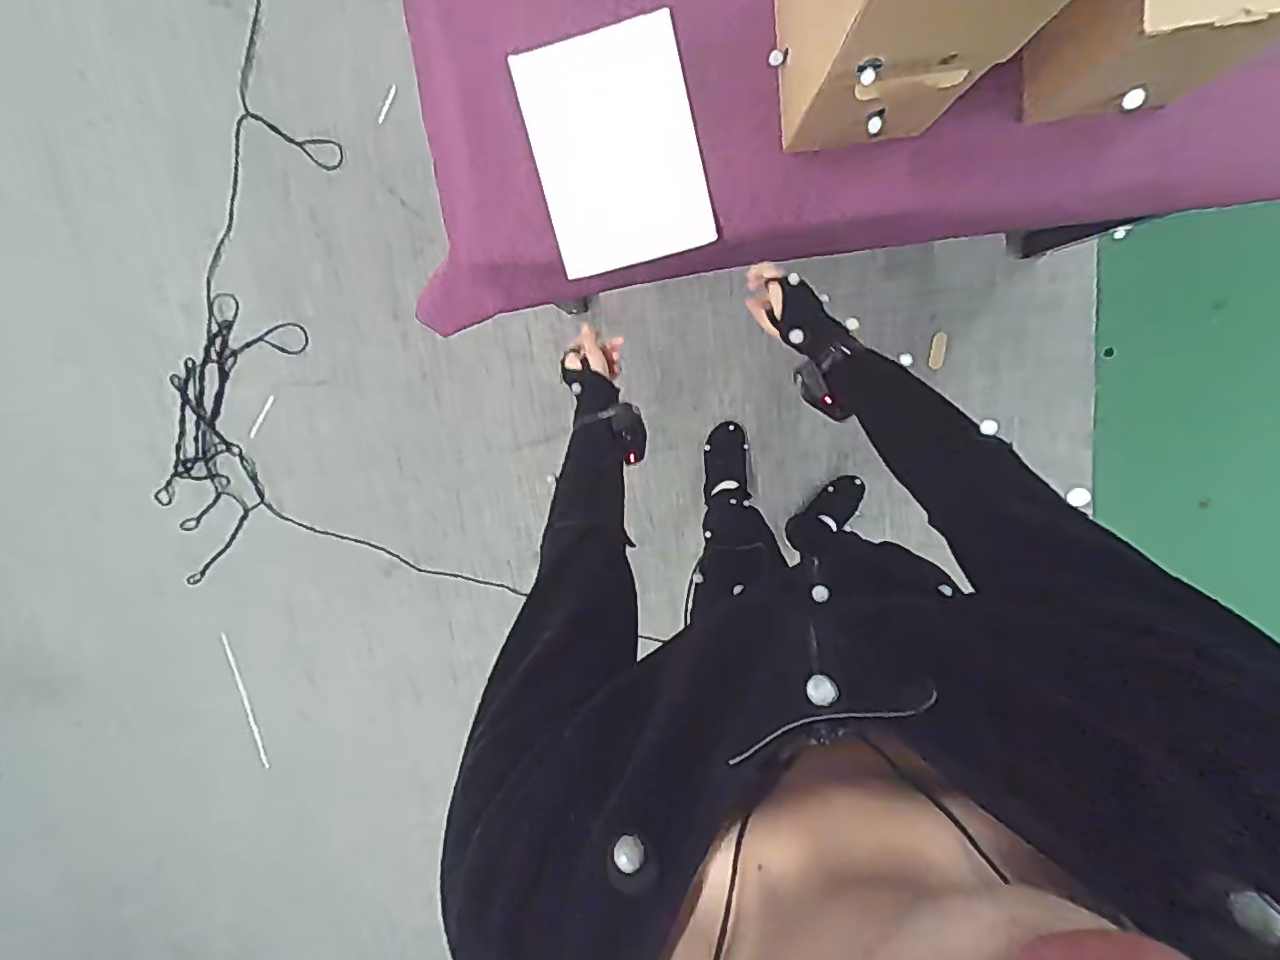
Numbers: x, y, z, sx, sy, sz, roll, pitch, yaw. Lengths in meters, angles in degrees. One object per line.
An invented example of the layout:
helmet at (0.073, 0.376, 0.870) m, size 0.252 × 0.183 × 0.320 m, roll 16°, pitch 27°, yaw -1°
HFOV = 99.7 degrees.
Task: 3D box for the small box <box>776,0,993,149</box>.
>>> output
small box at (0.242, -0.472, 0.564) m, size 0.168 × 0.176 × 0.179 m, roll -6°, pitch 100°, yaw 4°

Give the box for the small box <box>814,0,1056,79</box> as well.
small box at (0.233, -0.437, 0.403) m, size 0.168 × 0.176 × 0.179 m, roll -5°, pitch 99°, yaw 4°
